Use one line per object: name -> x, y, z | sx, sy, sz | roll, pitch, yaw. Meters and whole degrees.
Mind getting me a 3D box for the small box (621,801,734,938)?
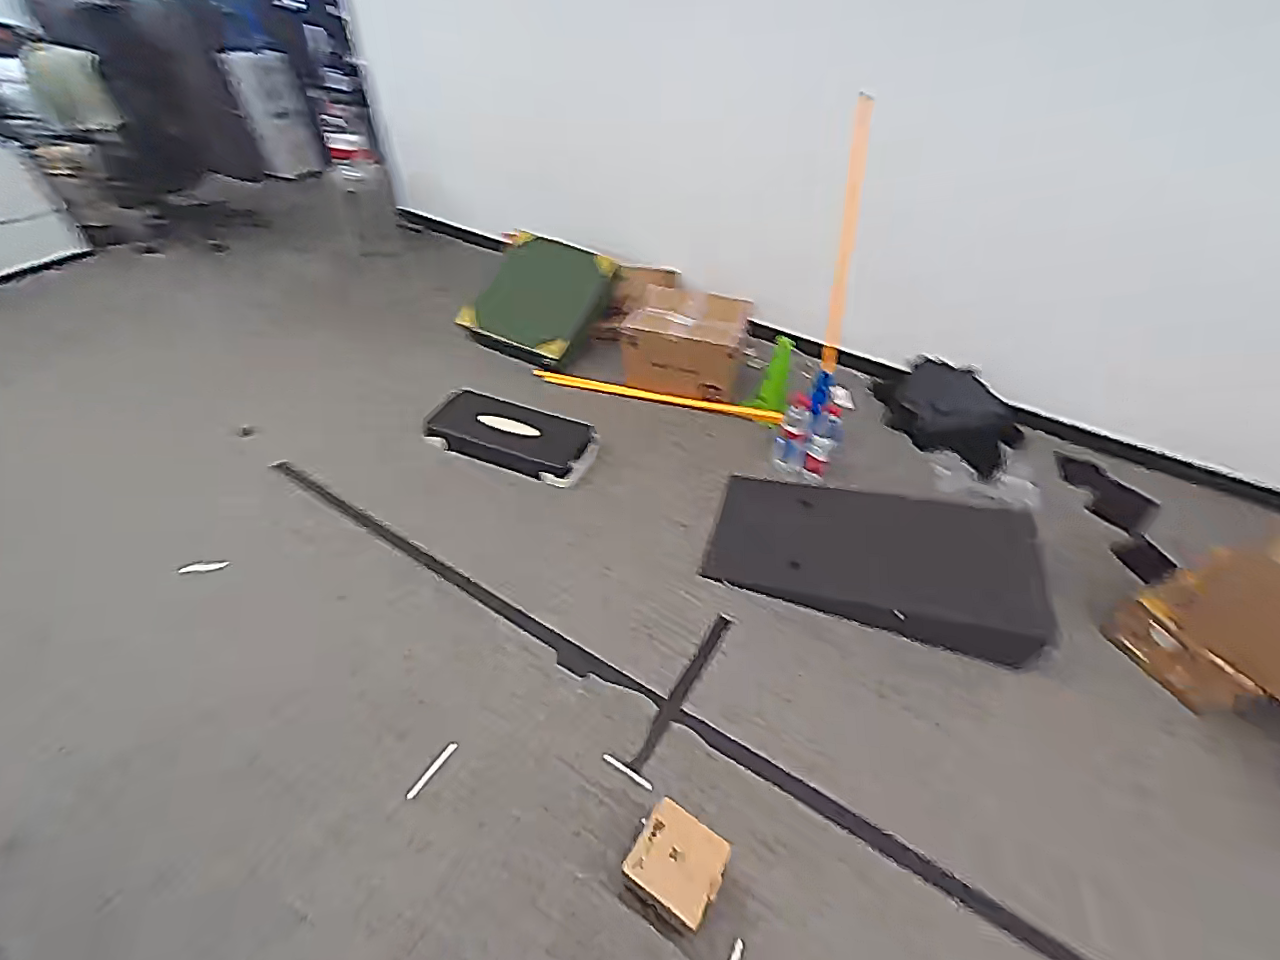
small box -> 0.076, 0.836, 1.160 | 0.179, 0.176, 0.168 | 28, 51, 22
